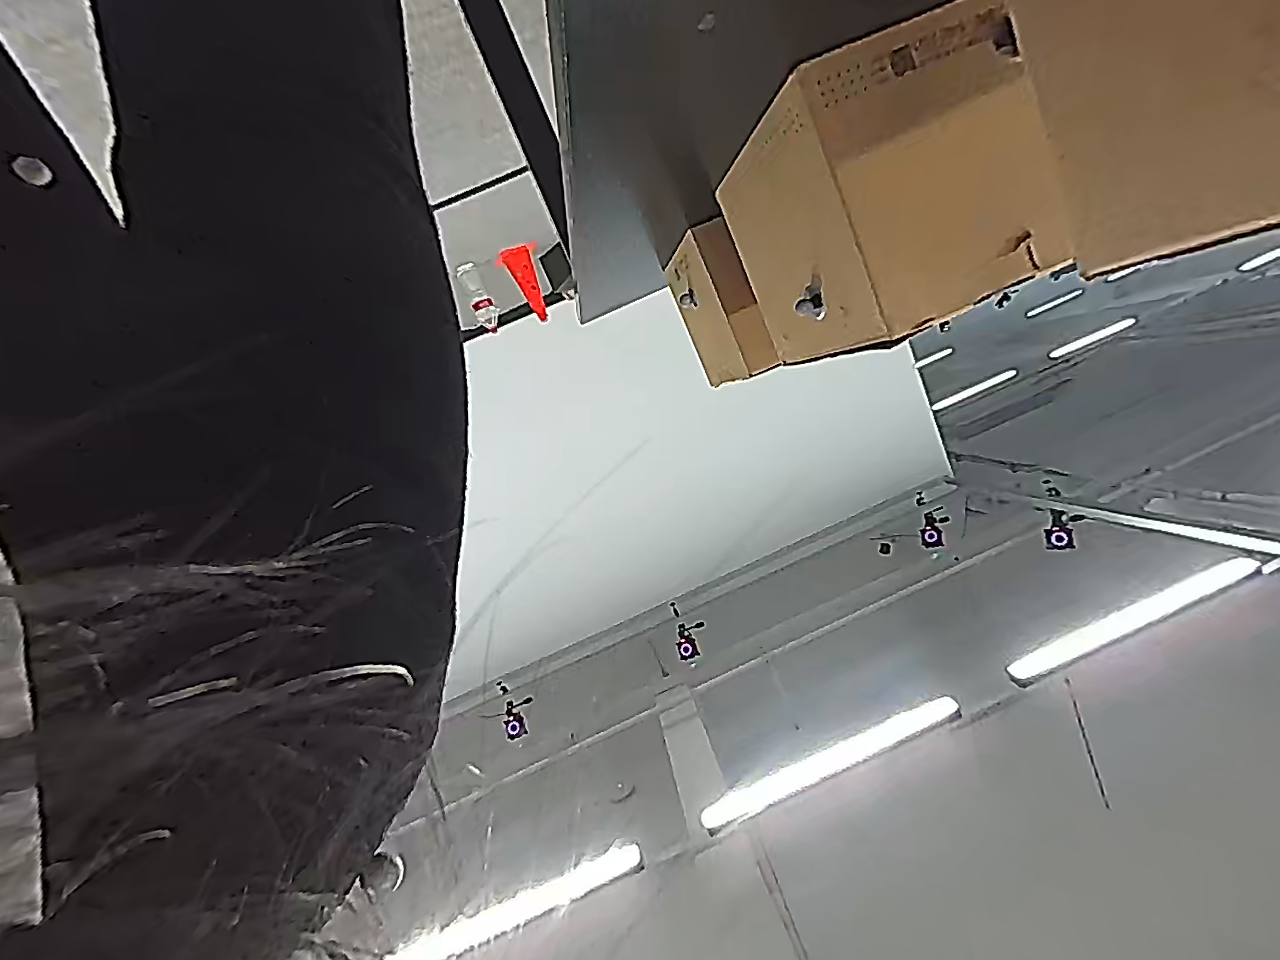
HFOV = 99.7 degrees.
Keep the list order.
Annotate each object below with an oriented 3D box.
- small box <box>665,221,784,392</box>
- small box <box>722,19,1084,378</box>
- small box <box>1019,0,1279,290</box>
[{"bbox_3d":[0.152,-0.222,0.651,0.179,0.176,0.168,-25,-172,-4],"label":"small box"},{"bbox_3d":[0.181,-0.195,0.409,0.168,0.176,0.179,-25,-171,-5],"label":"small box"},{"bbox_3d":[0.232,-0.175,0.134,0.168,0.176,0.179,-23,-170,0],"label":"small box"}]
